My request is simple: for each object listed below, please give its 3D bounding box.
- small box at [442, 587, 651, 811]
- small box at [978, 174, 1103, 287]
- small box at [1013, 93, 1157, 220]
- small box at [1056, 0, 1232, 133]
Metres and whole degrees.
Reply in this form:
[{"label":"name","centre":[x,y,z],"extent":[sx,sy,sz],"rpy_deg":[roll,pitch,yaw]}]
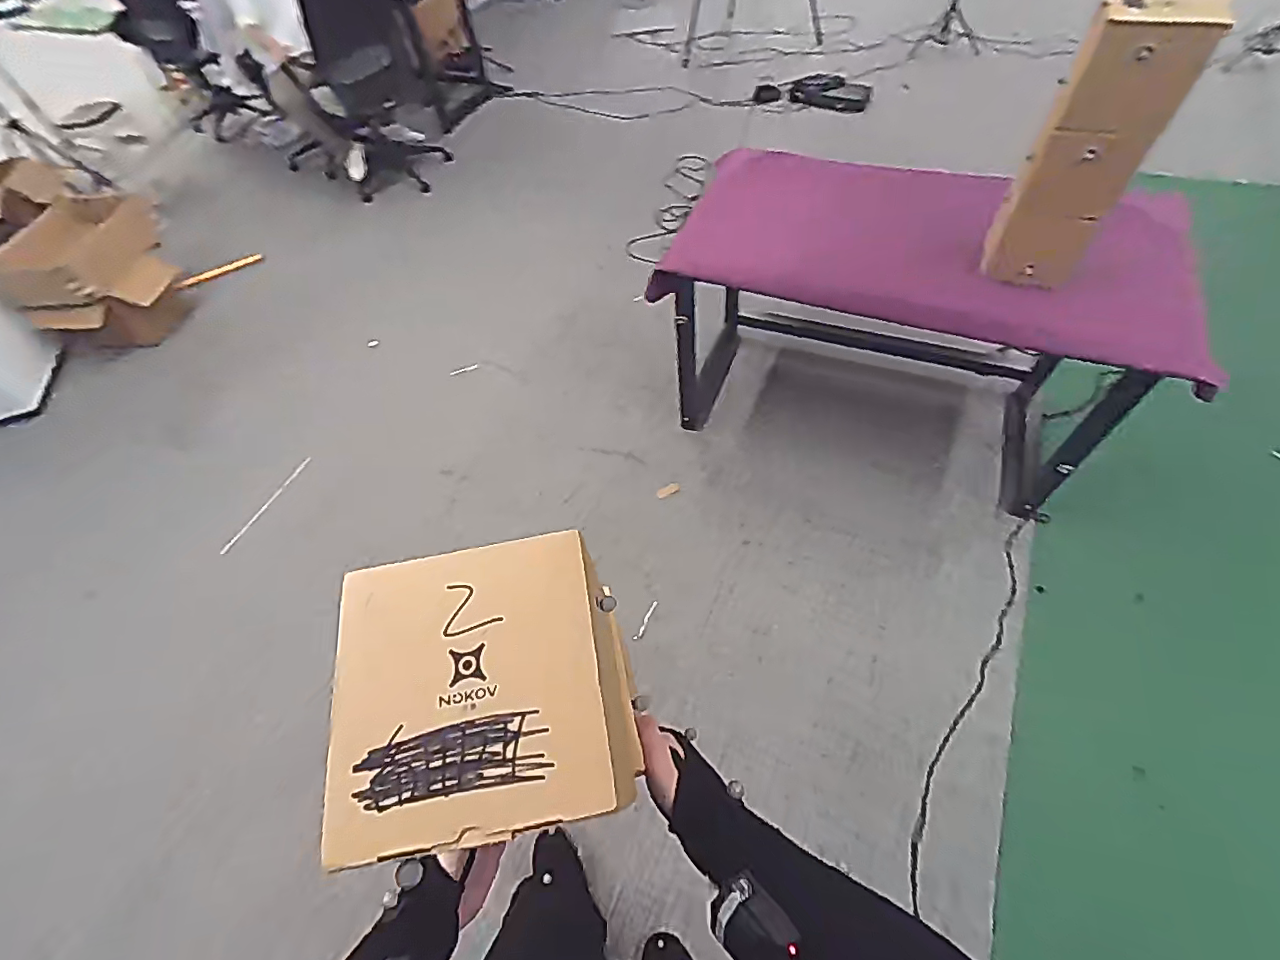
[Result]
[{"label":"small box","centre":[-0.088,0.225,0.559],"extent":[0.179,0.176,0.168],"rpy_deg":[-11,62,-2]},{"label":"small box","centre":[0.917,-0.571,1.246],"extent":[0.179,0.176,0.168],"rpy_deg":[17,59,17]},{"label":"small box","centre":[0.903,-0.663,1.111],"extent":[0.179,0.176,0.168],"rpy_deg":[18,61,18]},{"label":"small box","centre":[0.891,-0.755,0.976],"extent":[0.179,0.176,0.168],"rpy_deg":[17,61,17]}]
